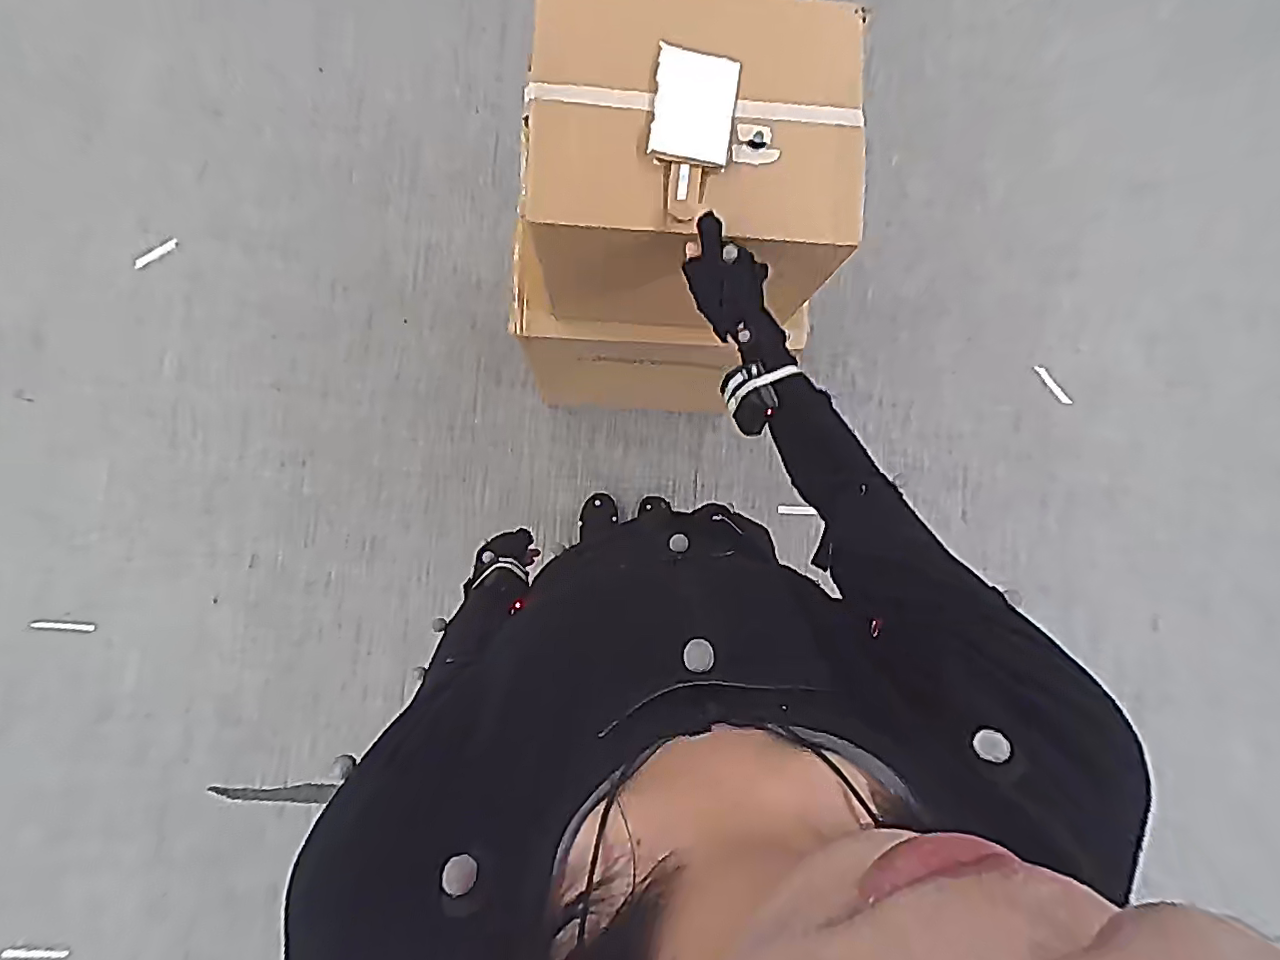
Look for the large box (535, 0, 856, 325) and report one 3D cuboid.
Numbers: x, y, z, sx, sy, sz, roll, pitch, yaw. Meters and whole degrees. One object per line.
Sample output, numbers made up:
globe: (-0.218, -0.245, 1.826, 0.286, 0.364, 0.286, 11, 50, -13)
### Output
large box: (0.060, -0.442, 0.814, 0.408, 0.320, 0.320, 2, 86, -5)
